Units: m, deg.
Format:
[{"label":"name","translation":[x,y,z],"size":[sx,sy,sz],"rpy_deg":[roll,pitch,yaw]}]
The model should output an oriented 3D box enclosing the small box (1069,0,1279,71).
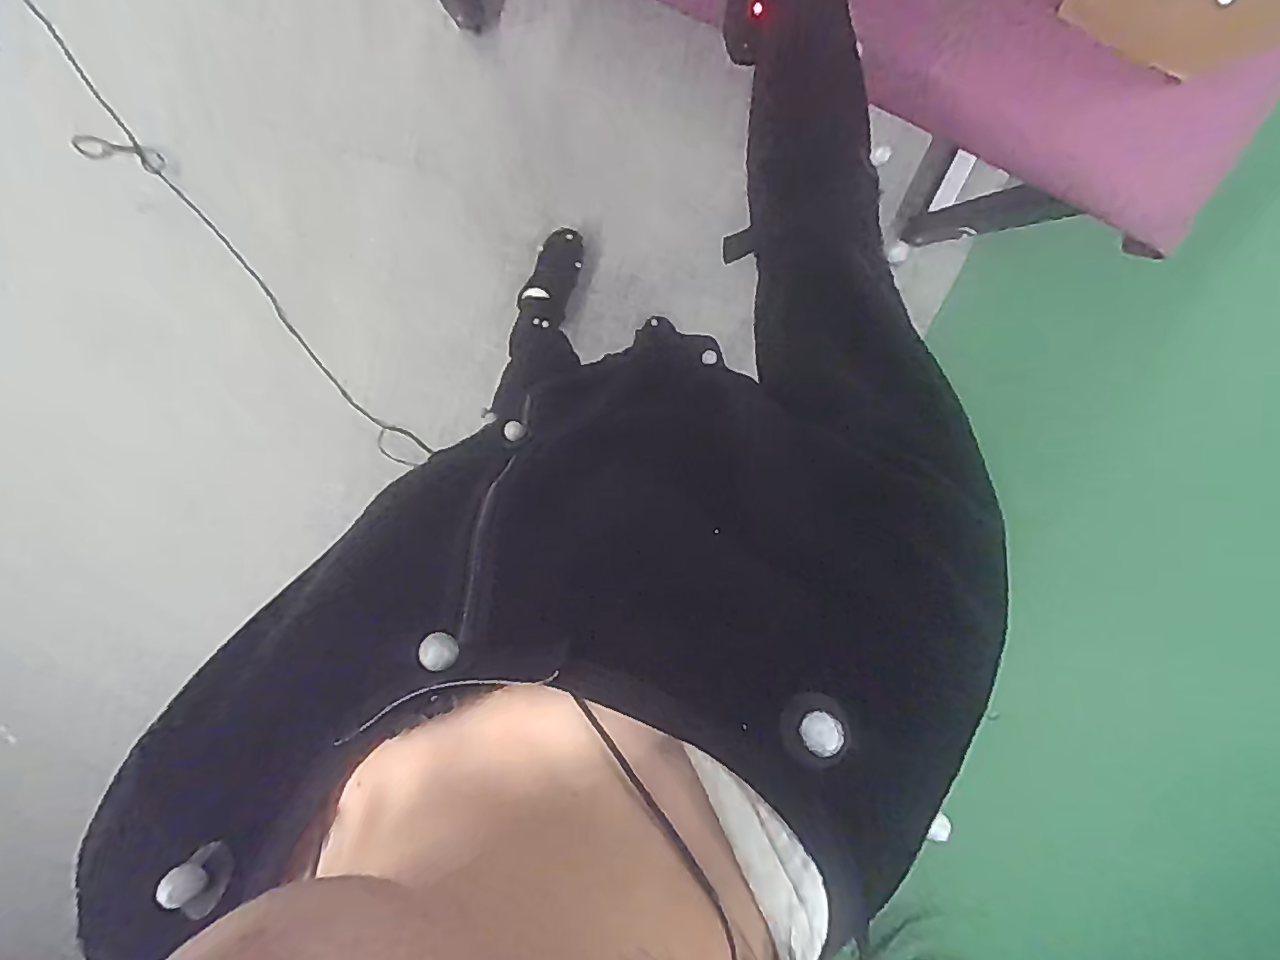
[{"label":"small box","translation":[0.558,-0.521,0.491],"size":[0.179,0.176,0.168],"rpy_deg":[23,107,-6]}]
